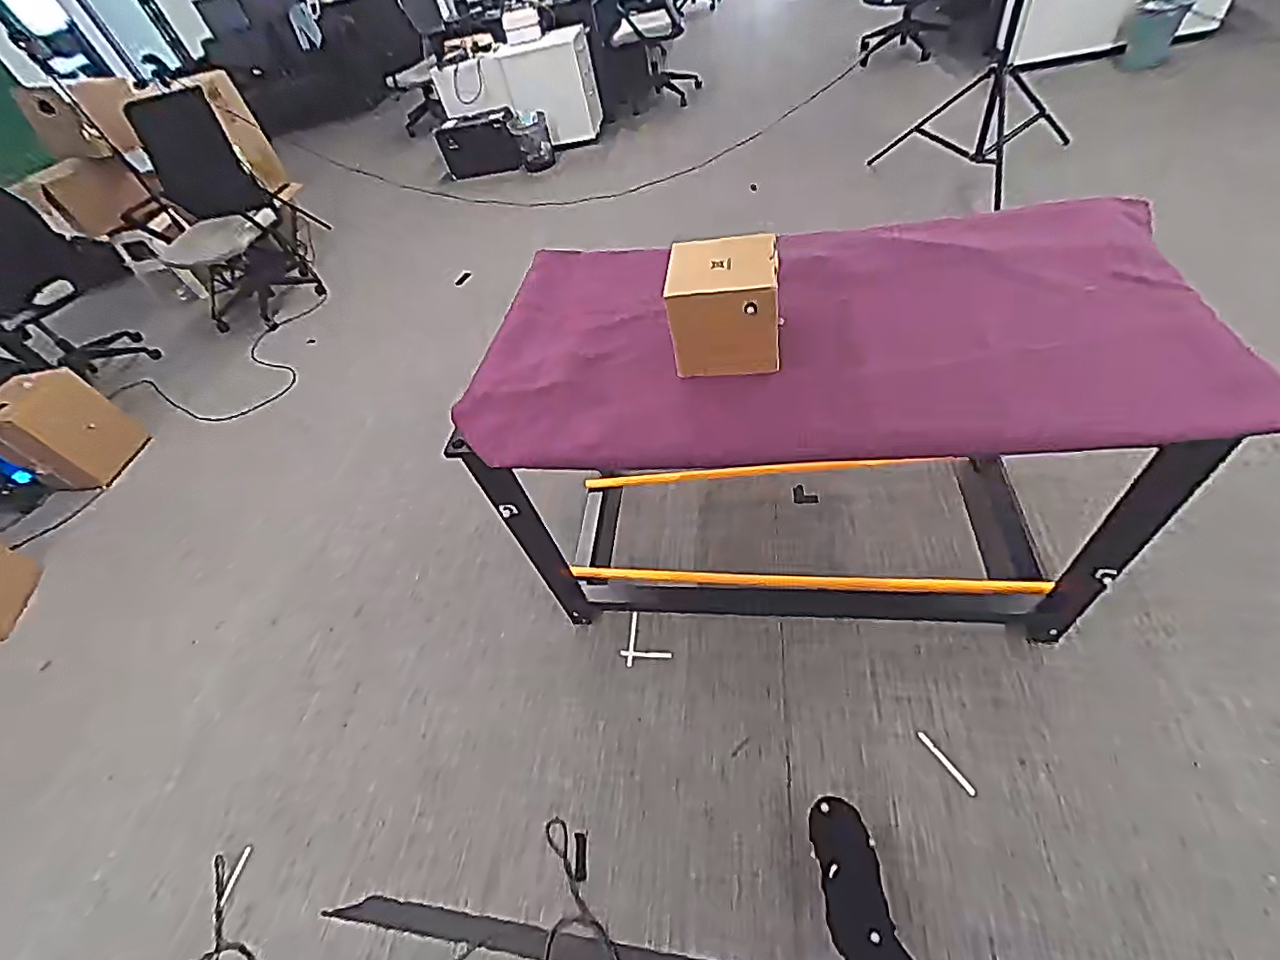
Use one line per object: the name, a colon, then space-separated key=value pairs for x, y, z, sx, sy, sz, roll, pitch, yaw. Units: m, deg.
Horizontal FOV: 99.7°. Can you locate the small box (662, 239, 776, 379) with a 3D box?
small box: x=0.145 y=-0.291 z=0.940 sx=0.179 sy=0.176 sz=0.168 roll=-1 pitch=50 yaw=13
